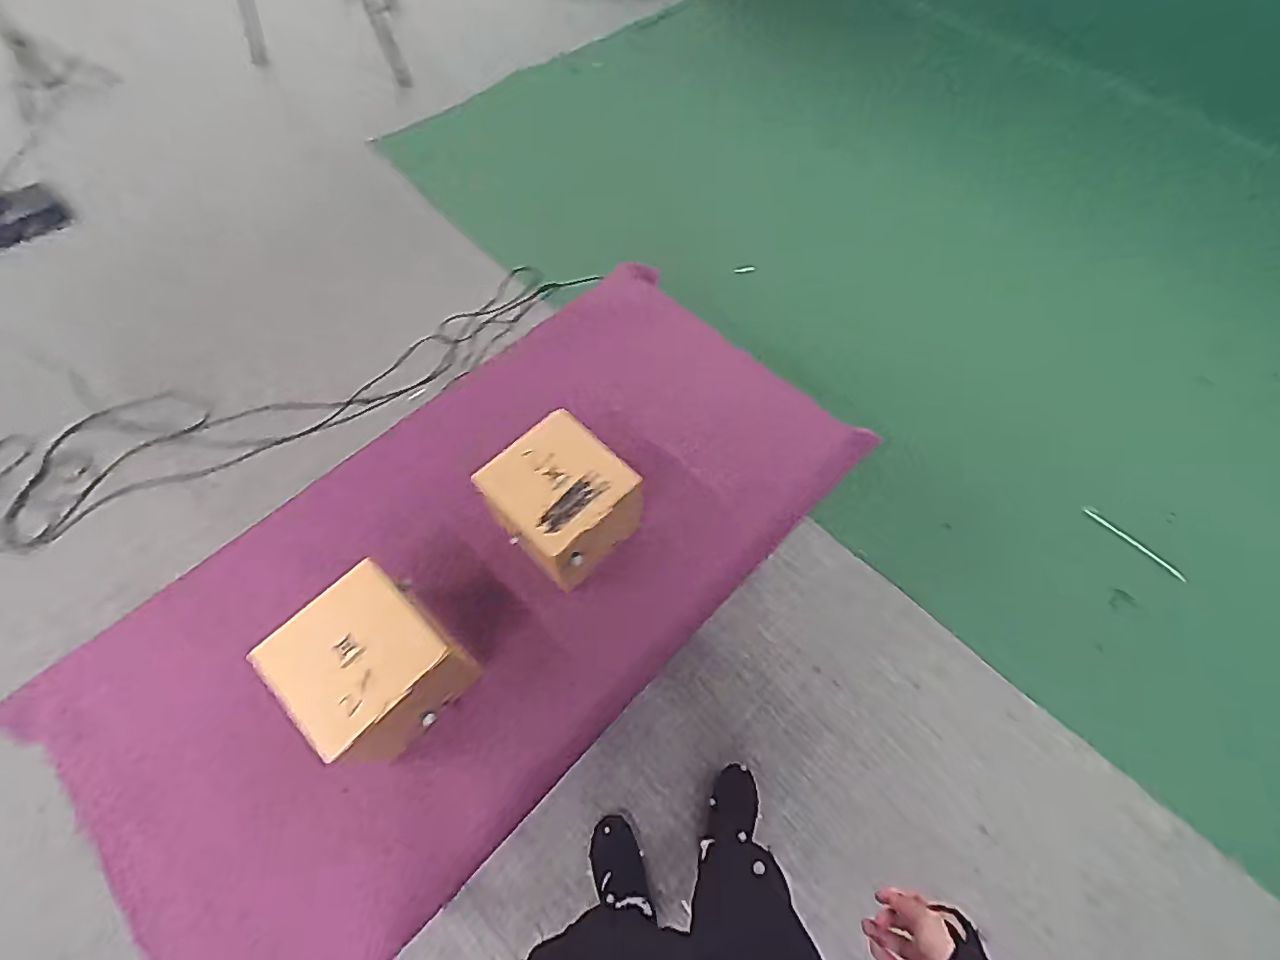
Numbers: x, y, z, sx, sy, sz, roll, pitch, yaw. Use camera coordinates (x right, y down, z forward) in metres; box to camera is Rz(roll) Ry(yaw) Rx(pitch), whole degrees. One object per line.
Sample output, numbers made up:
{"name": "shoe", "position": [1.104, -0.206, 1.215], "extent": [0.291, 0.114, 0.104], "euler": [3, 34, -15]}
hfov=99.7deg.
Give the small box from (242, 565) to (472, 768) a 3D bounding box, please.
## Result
{"name": "small box", "position": [-0.351, 0.247, 0.702], "extent": [0.179, 0.176, 0.168], "euler": [40, 69, 18]}
